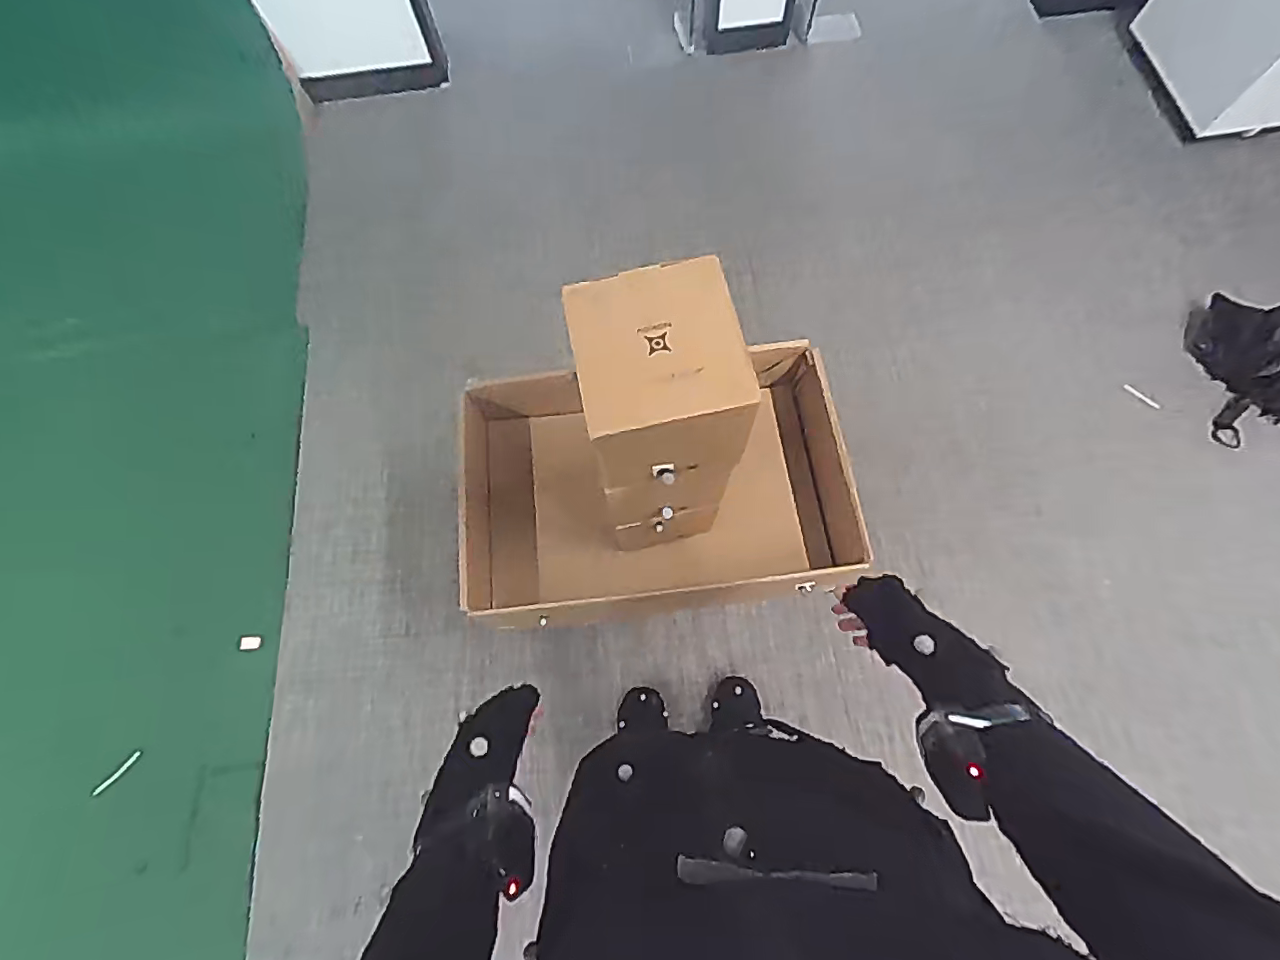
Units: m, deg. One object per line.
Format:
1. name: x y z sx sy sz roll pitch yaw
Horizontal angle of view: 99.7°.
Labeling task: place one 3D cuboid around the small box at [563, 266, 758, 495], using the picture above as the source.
1. small box: 0.019 -0.101 0.606 0.168 0.176 0.179 -13 71 0

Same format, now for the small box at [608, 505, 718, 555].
1. small box: 0.024 0.011 0.911 0.168 0.176 0.179 -14 70 -1

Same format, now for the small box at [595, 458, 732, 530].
1. small box: 0.019 -0.047 0.758 0.168 0.176 0.179 -13 71 -2
